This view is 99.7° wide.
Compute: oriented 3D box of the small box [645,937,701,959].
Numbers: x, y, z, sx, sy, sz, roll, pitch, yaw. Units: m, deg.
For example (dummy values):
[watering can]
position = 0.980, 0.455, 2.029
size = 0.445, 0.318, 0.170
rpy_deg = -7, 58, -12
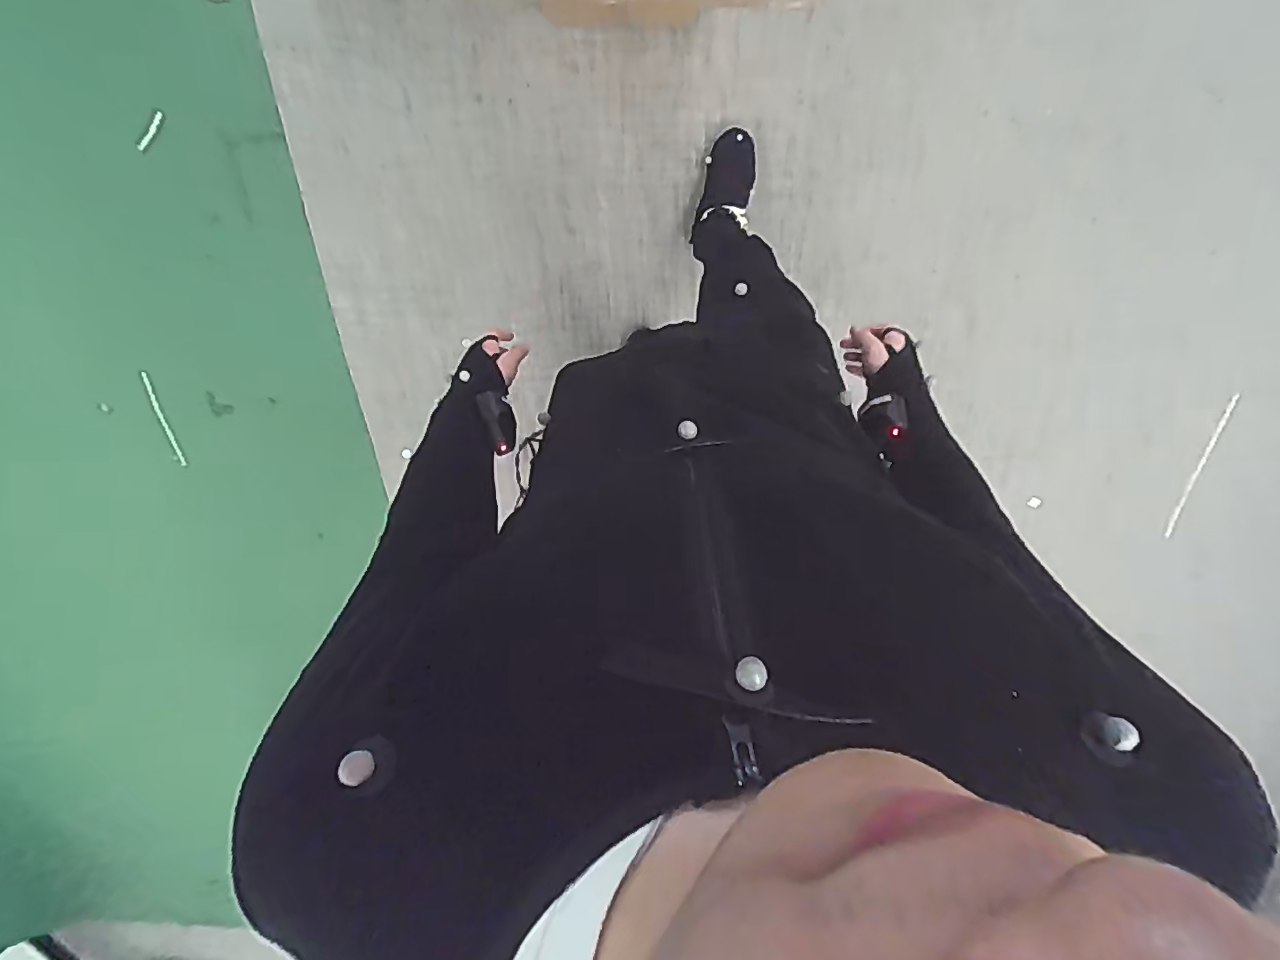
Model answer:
[small box]
position = 0.098, 1.488, 1.596
size = 0.168, 0.176, 0.179
rpy_deg = -1, 118, 5
